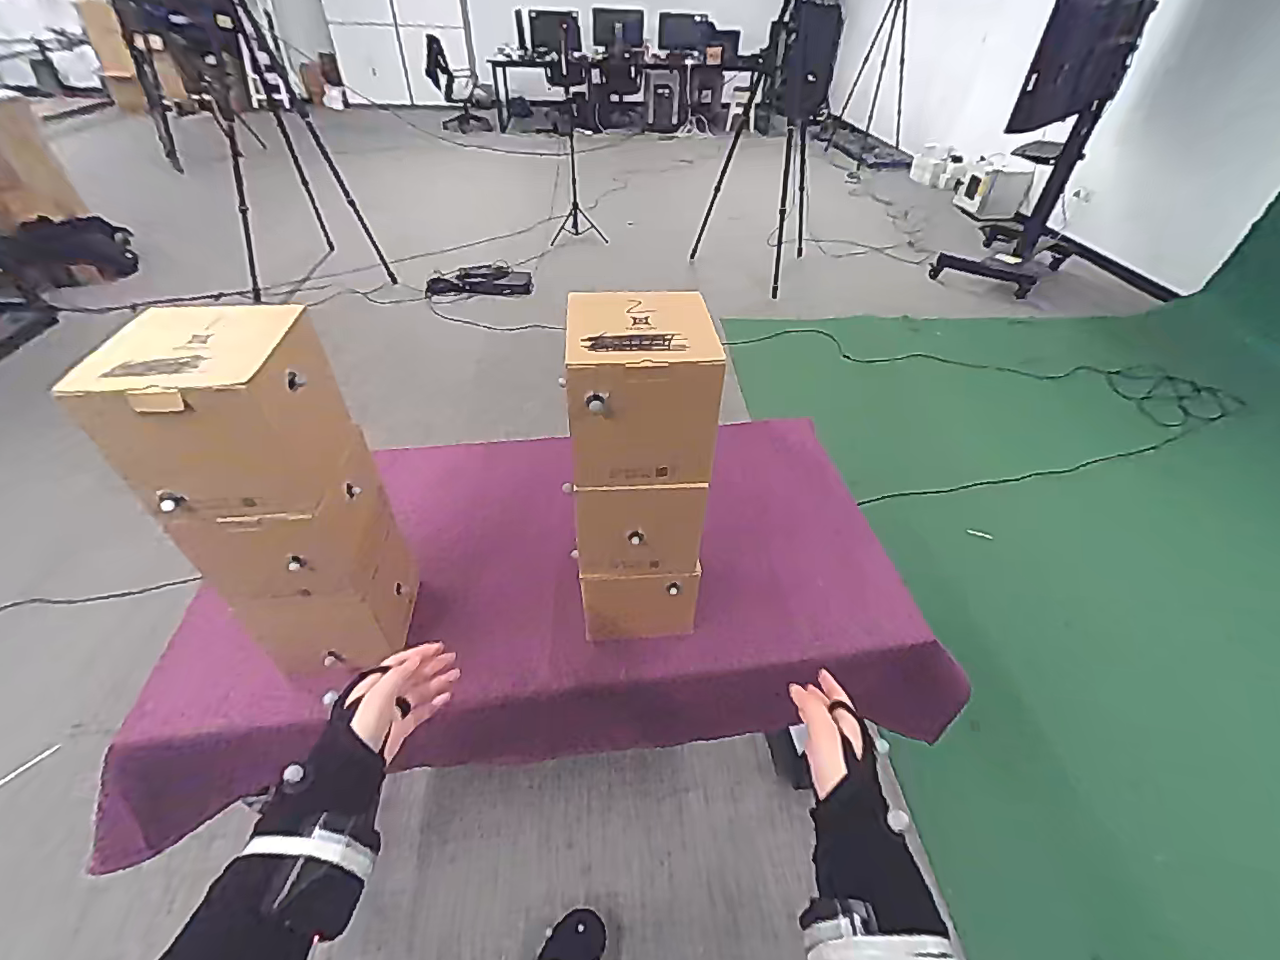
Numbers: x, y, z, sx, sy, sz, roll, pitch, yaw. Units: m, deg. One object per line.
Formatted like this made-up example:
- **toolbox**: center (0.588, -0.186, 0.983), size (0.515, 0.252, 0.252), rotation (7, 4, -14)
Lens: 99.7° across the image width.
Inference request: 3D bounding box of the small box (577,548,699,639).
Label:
- **small box**: center (-0.008, 0.141, 0.872), size (0.179, 0.176, 0.168), rotation (-2, 42, -5)

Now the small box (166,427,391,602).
- **small box**: center (-0.454, 0.049, 0.719), size (0.168, 0.176, 0.179), rotation (-2, 42, -4)

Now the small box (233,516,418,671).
- **small box**: center (-0.457, 0.173, 0.825), size (0.179, 0.176, 0.168), rotation (-3, 42, -5)

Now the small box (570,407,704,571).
- **small box**: center (-0.006, 0.015, 0.765), size (0.168, 0.176, 0.179), rotation (-1, 42, -3)

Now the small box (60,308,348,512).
- **small box**: center (-0.457, -0.075, 0.611), size (0.168, 0.176, 0.179), rotation (-4, 42, -7)
